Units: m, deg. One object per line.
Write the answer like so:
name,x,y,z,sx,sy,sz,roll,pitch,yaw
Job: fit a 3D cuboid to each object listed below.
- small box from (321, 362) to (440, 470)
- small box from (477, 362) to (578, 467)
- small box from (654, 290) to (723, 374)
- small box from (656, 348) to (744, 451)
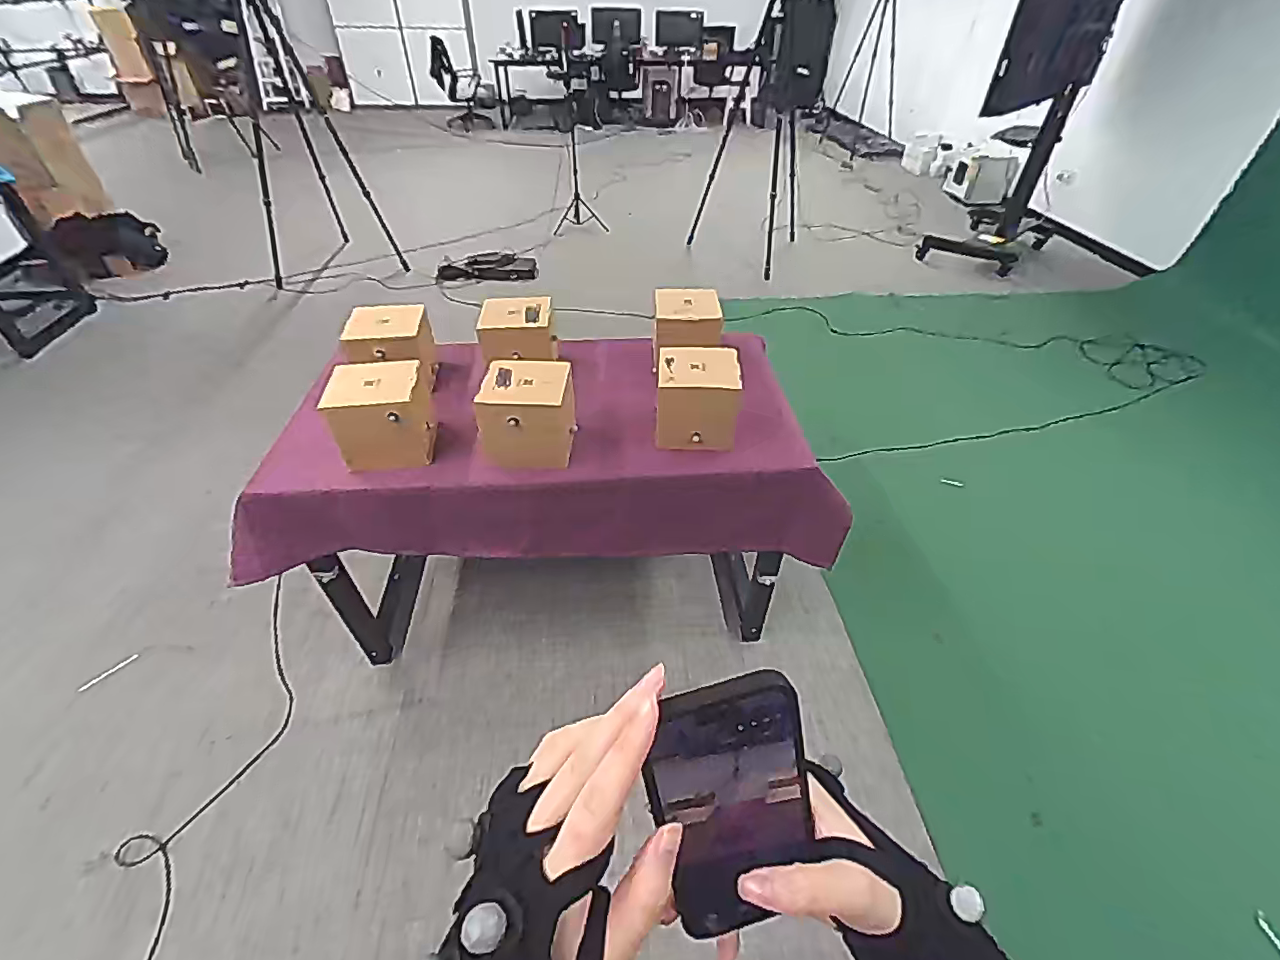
small box,-0.549,-0.137,1.171,0.179,0.176,0.168,-6,43,-9
small box,-0.236,-0.141,1.178,0.179,0.176,0.168,2,43,0
small box,0.124,-0.394,1.454,0.168,0.176,0.179,-1,43,0
small box,0.130,-0.180,1.224,0.179,0.176,0.168,3,42,2
